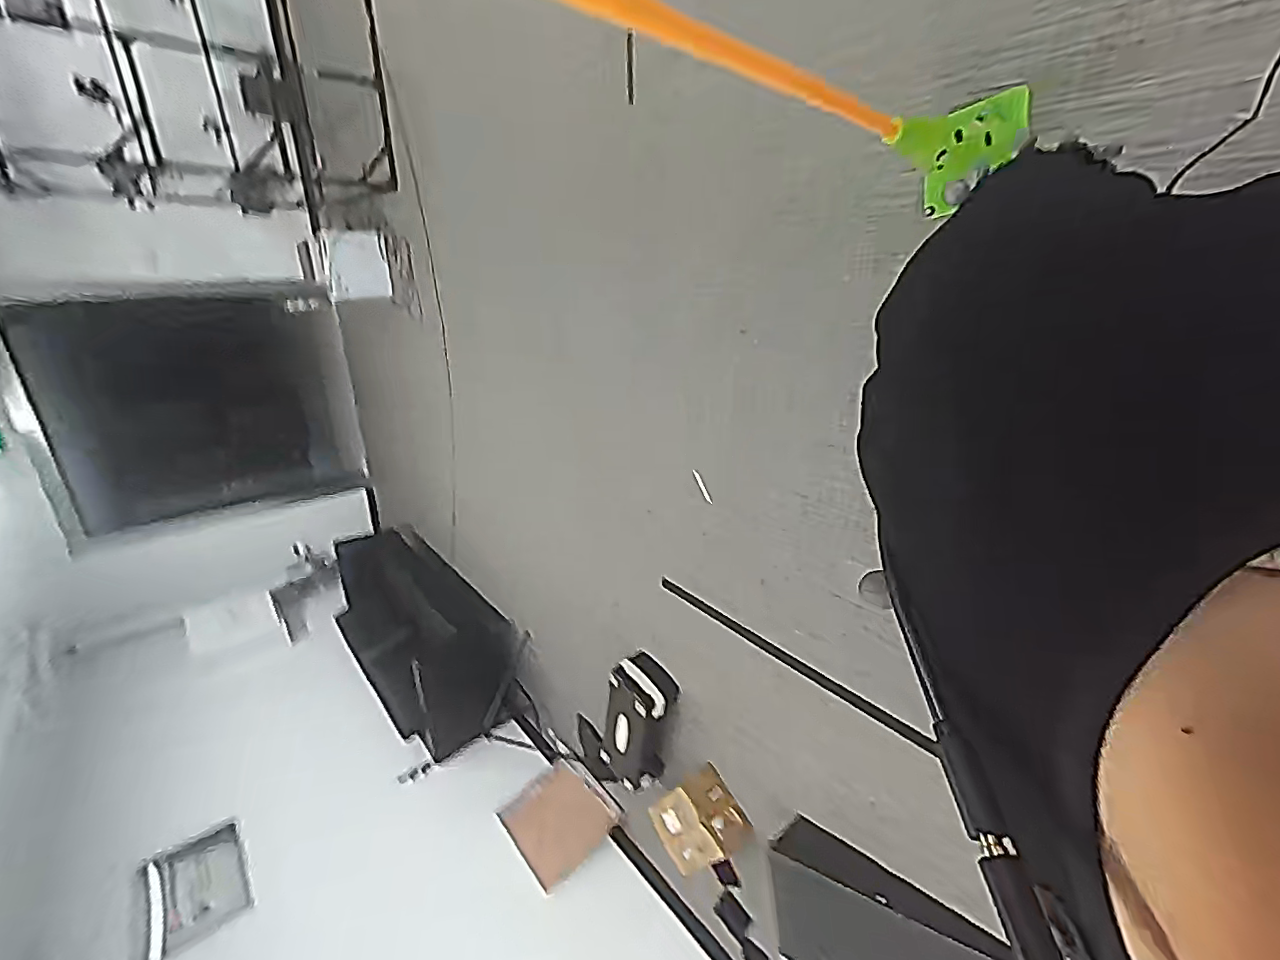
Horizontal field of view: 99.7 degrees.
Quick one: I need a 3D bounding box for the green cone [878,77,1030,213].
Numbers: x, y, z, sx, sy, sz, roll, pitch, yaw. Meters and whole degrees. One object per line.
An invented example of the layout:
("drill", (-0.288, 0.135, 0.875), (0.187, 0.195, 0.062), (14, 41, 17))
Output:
("green cone", (0.563, -0.651, 1.022), (0.200, 0.368, 0.202), (6, 107, 51))
